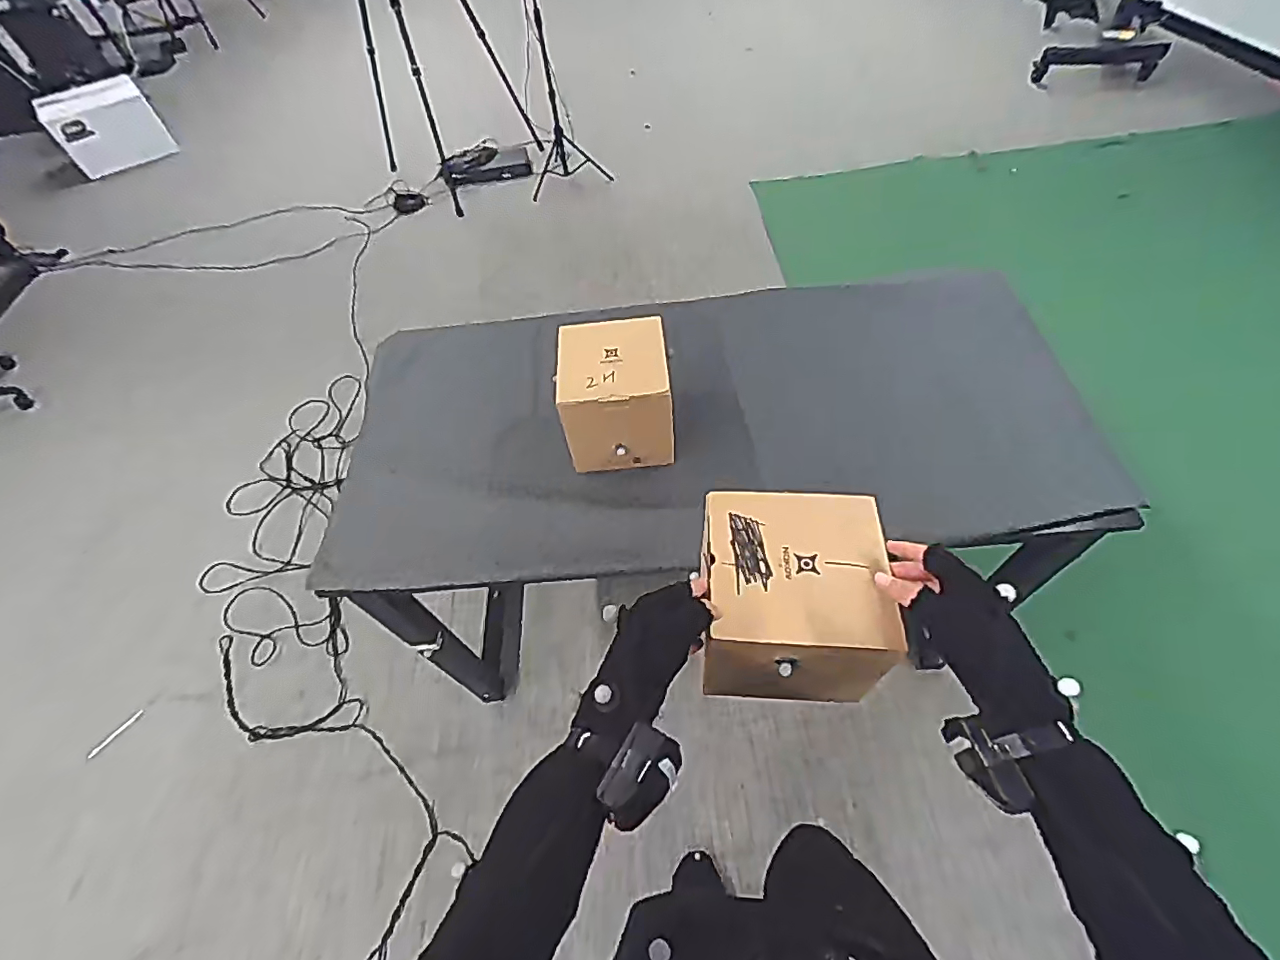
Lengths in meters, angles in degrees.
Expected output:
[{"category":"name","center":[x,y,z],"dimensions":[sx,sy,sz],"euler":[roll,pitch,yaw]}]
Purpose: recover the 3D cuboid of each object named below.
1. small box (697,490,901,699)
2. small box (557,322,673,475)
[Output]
[{"category":"small box","center":[0.153,0.128,0.588],"dimensions":[0.179,0.176,0.168],"euler":[3,53,5]},{"category":"small box","center":[-0.036,-0.130,0.883],"dimensions":[0.168,0.176,0.179],"euler":[-6,54,2]}]
